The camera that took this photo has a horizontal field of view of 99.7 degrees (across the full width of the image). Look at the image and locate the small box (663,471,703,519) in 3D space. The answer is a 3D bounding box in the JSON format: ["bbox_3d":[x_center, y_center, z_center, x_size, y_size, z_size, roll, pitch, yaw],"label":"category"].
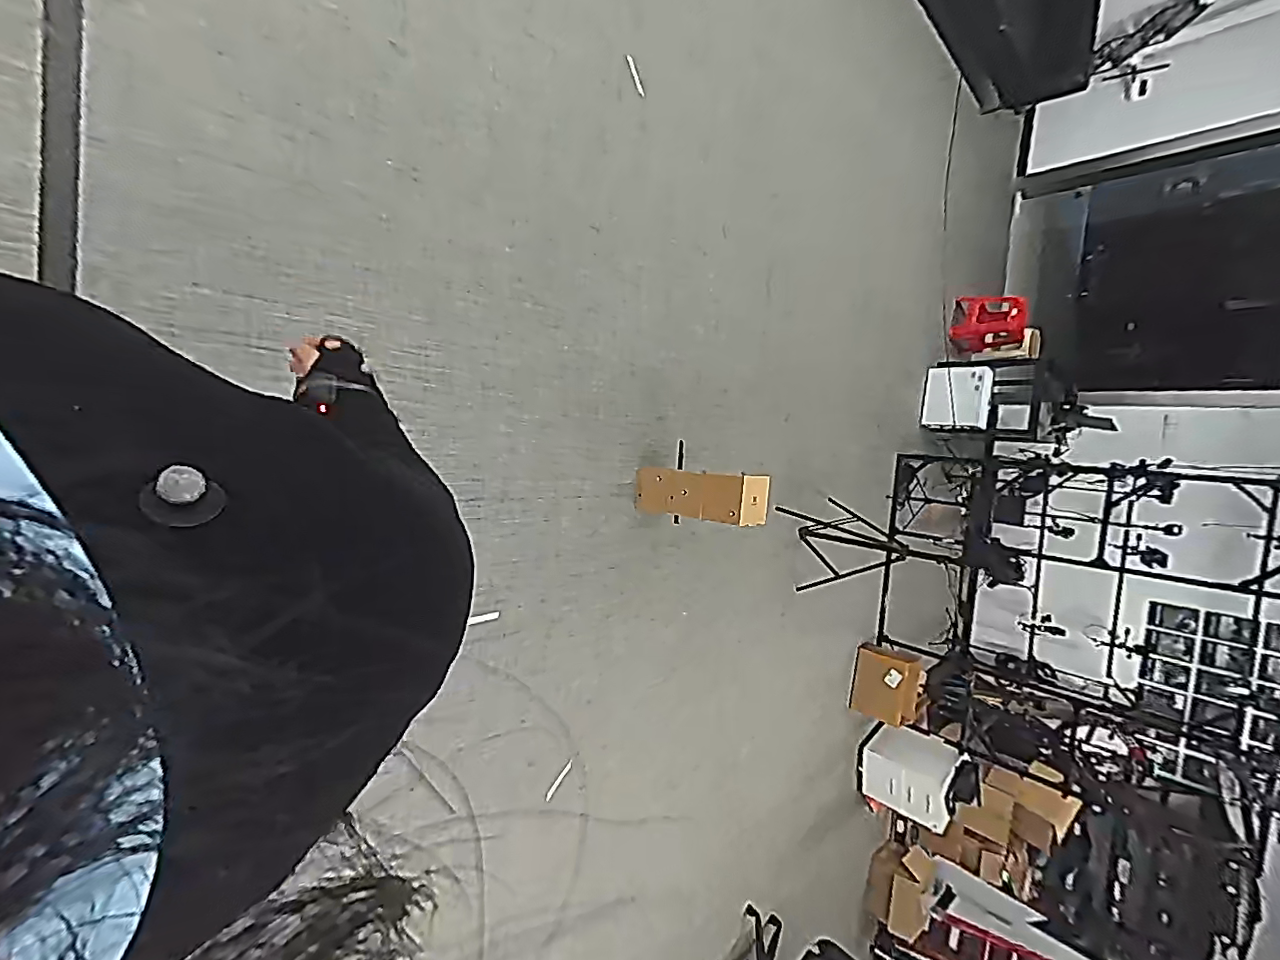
[{"bbox_3d":[0.207,0.060,2.050,0.179,0.176,0.168,7,92,-46],"label":"small box"}]

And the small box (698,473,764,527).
[{"bbox_3d":[0.325,0.066,1.938,0.168,0.176,0.179,1,95,-45],"label":"small box"}]
